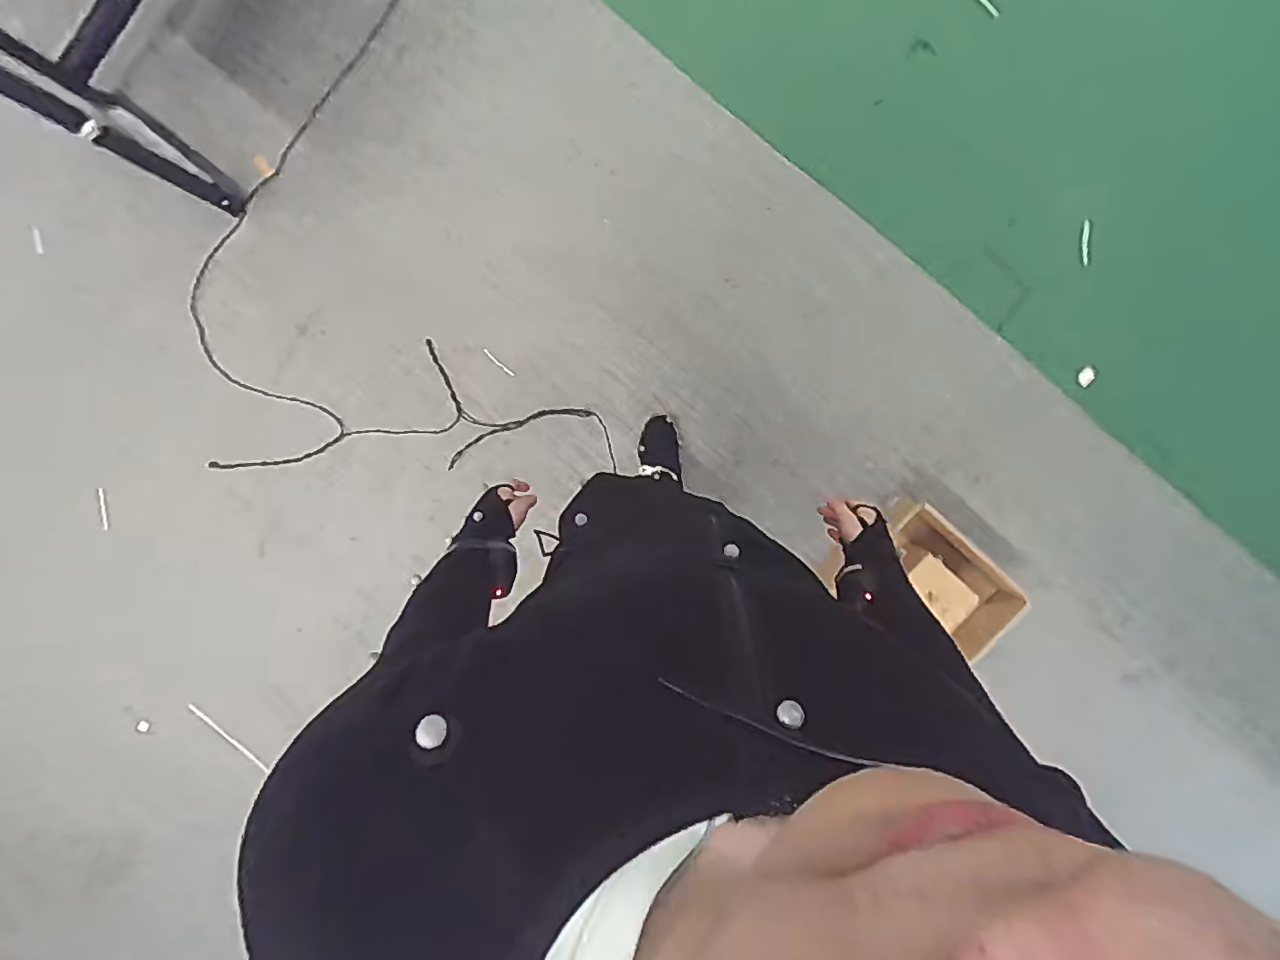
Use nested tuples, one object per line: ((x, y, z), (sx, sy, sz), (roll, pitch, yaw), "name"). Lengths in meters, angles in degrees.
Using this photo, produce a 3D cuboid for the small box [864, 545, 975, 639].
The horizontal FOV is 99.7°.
((0.750, 0.294, 1.476), (0.179, 0.176, 0.168), (43, 96, 1), "small box")
